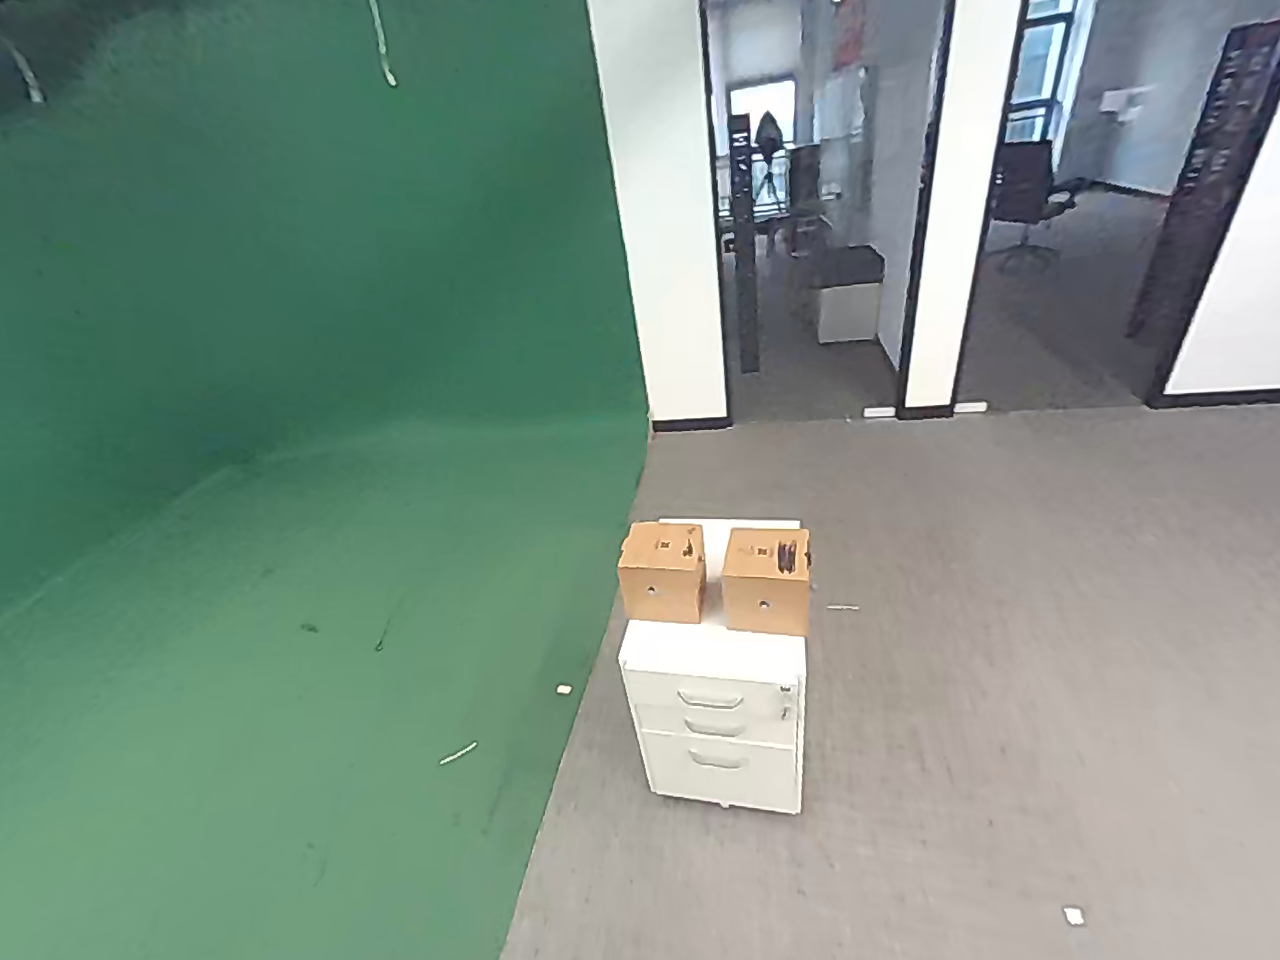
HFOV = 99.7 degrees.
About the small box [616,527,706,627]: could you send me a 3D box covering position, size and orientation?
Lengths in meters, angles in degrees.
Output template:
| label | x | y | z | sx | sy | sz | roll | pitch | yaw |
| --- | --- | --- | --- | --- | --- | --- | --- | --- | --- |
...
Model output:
| label | x | y | z | sx | sy | sz | roll | pitch | yaw |
| --- | --- | --- | --- | --- | --- | --- | --- | --- | --- |
| small box | 0.056 | 0.227 | 1.277 | 0.179 | 0.176 | 0.168 | 0 | 33 | 14 |
